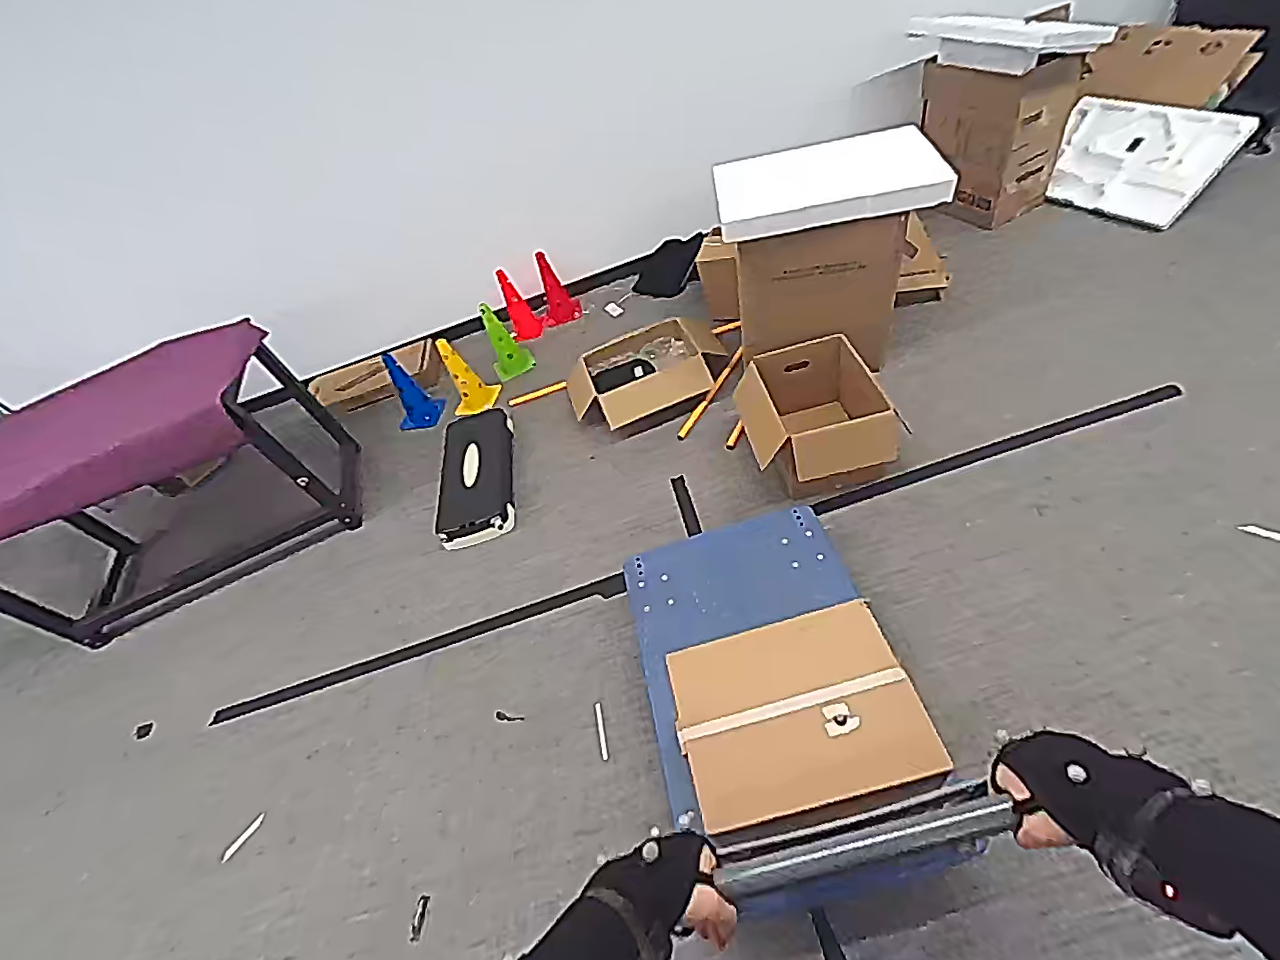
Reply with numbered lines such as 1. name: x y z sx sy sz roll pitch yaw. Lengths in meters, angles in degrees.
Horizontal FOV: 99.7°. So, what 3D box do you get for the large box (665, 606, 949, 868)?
1. large box: 0.297 0.505 1.053 0.408 0.320 0.320 -17 47 2
